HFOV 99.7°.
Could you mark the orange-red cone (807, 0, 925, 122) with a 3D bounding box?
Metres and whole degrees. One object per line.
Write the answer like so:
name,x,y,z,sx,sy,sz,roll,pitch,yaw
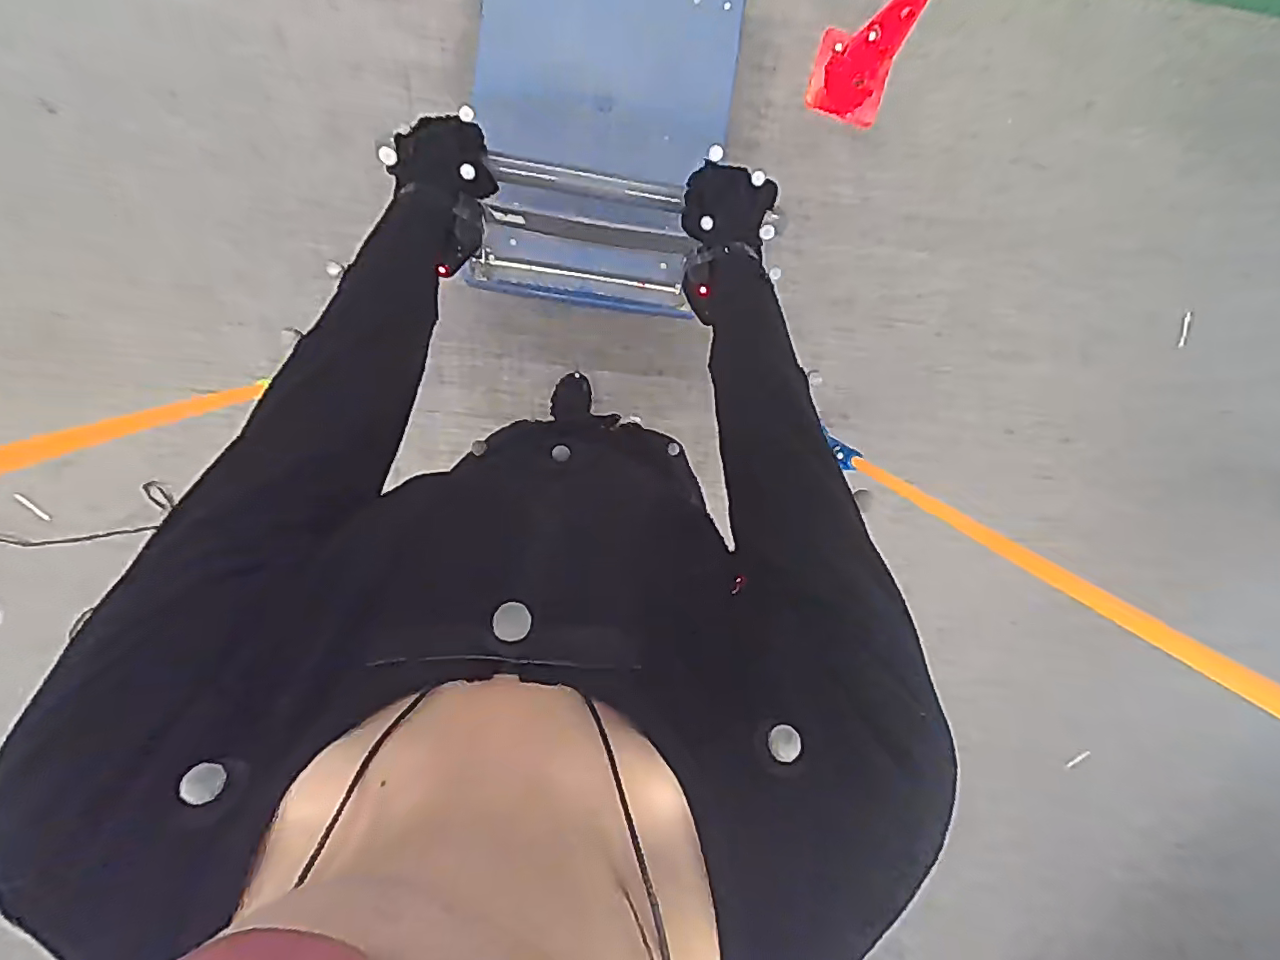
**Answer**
orange-red cone,0.568,-1.043,1.252,0.198,0.360,0.199,16,97,-7
